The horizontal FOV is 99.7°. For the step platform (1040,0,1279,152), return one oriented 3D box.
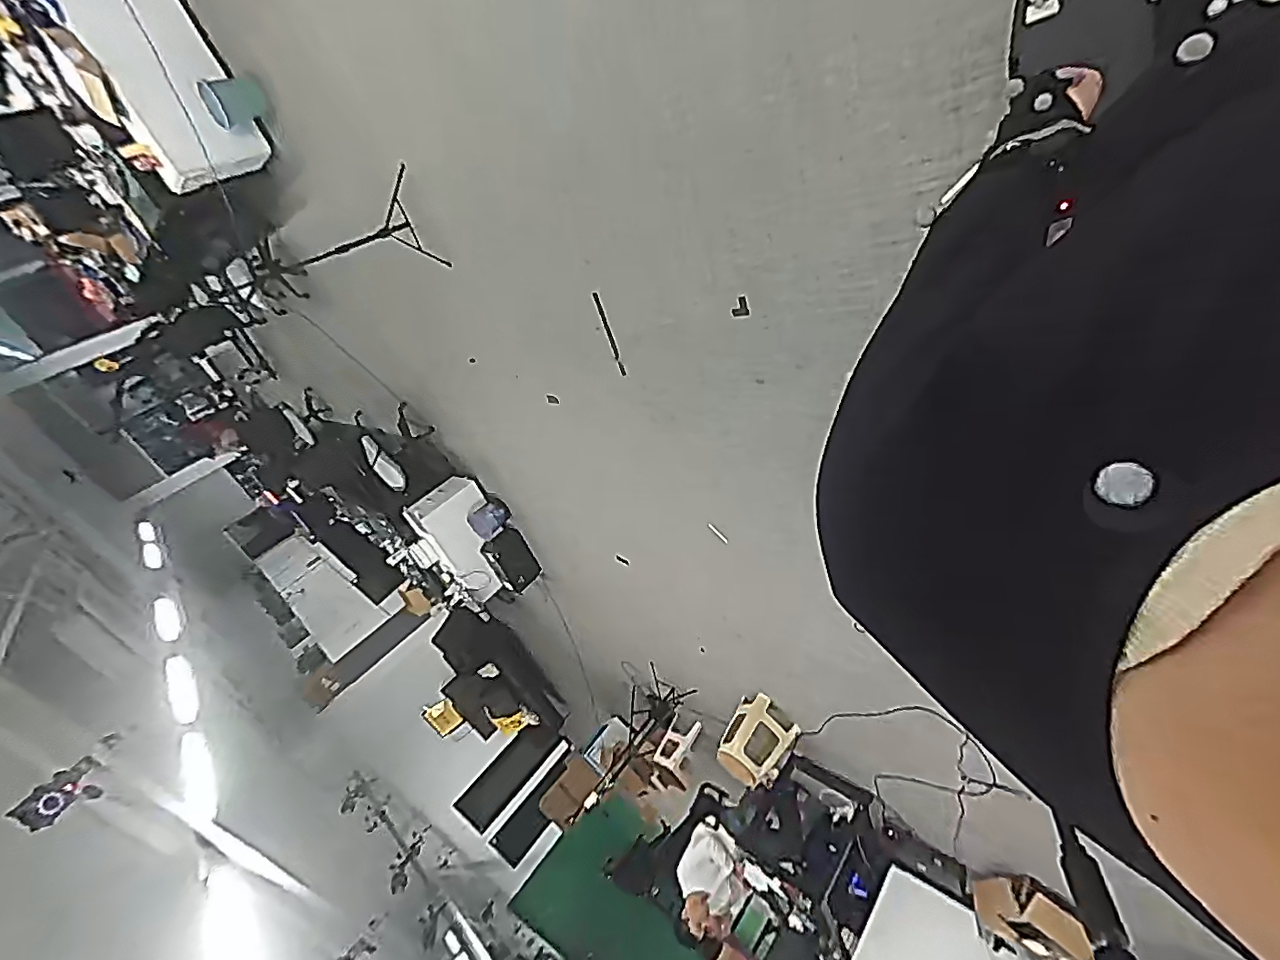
[{"bbox_3d":[0.997,-0.703,0.775,0.684,0.204,0.286,14,135,41],"label":"step platform"}]
